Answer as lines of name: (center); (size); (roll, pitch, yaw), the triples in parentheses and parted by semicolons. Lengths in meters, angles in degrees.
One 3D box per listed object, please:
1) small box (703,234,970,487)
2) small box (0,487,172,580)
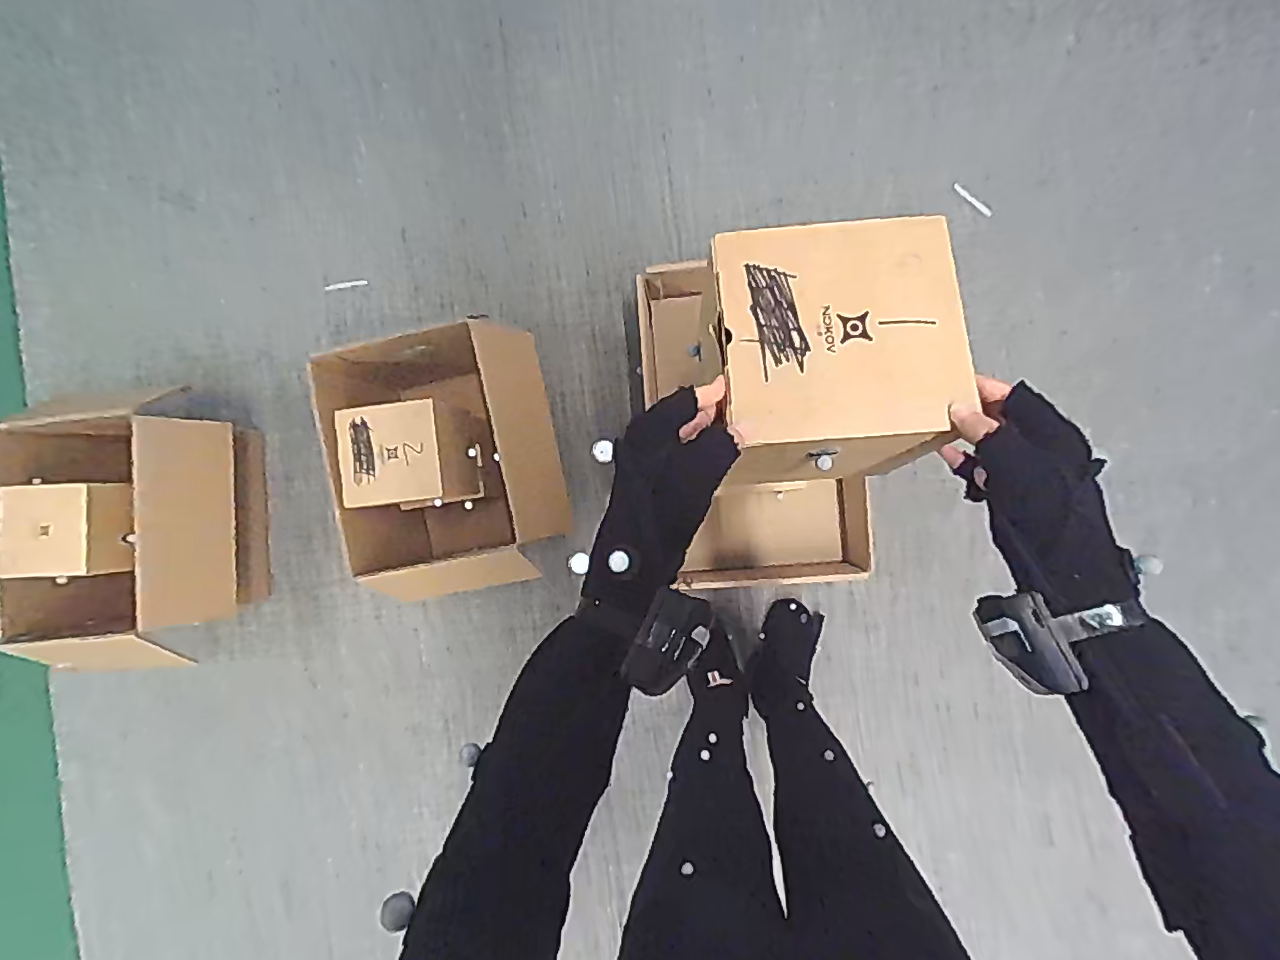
small box: (0.150, -0.091, 0.485); (0.179, 0.176, 0.168); (-4, 79, 0)
small box: (-1.053, 0.097, 1.042); (0.179, 0.176, 0.168); (-2, 88, 4)
